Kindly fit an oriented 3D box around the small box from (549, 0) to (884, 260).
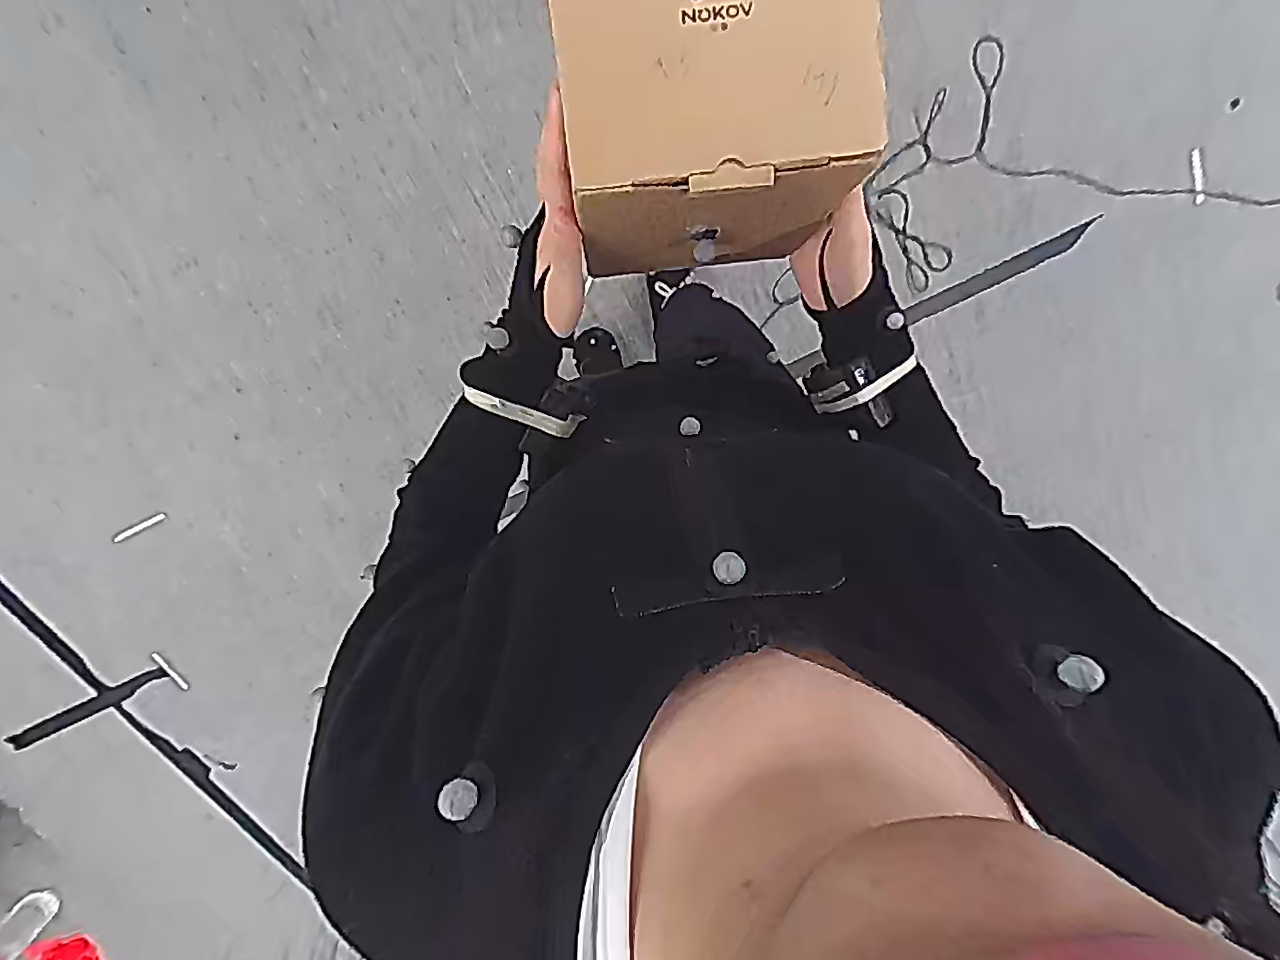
[{"bbox_3d":[0.034,-0.252,0.347,0.168,0.176,0.179,-7,97,-2],"label":"small box"}]
